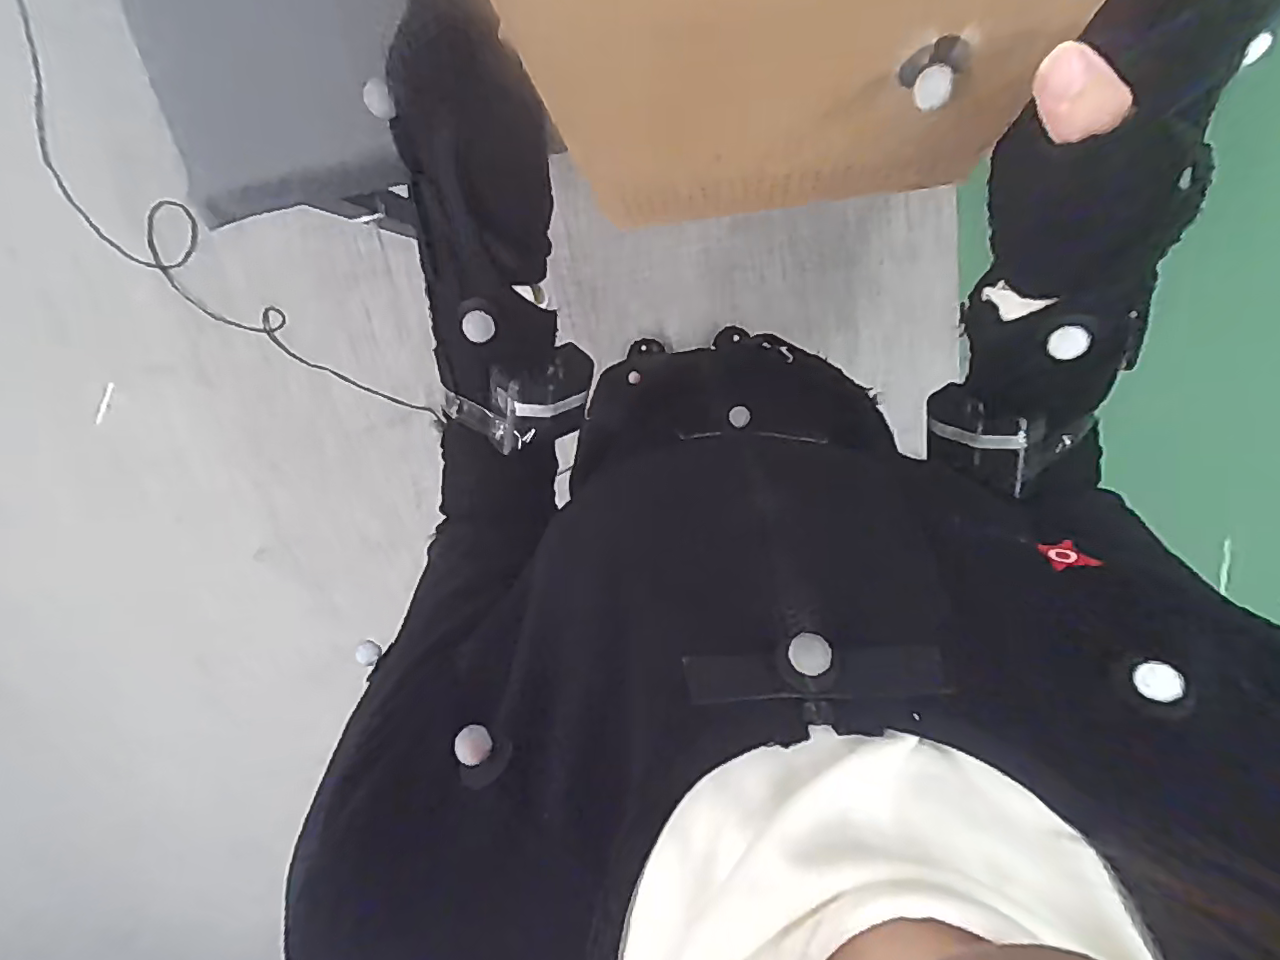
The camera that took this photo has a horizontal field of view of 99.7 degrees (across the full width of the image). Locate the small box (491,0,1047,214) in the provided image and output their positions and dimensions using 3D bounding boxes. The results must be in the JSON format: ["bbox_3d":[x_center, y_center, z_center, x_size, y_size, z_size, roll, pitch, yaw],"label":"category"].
[{"bbox_3d":[0.046,-0.224,0.197,0.179,0.176,0.168,-3,88,10],"label":"small box"}]
